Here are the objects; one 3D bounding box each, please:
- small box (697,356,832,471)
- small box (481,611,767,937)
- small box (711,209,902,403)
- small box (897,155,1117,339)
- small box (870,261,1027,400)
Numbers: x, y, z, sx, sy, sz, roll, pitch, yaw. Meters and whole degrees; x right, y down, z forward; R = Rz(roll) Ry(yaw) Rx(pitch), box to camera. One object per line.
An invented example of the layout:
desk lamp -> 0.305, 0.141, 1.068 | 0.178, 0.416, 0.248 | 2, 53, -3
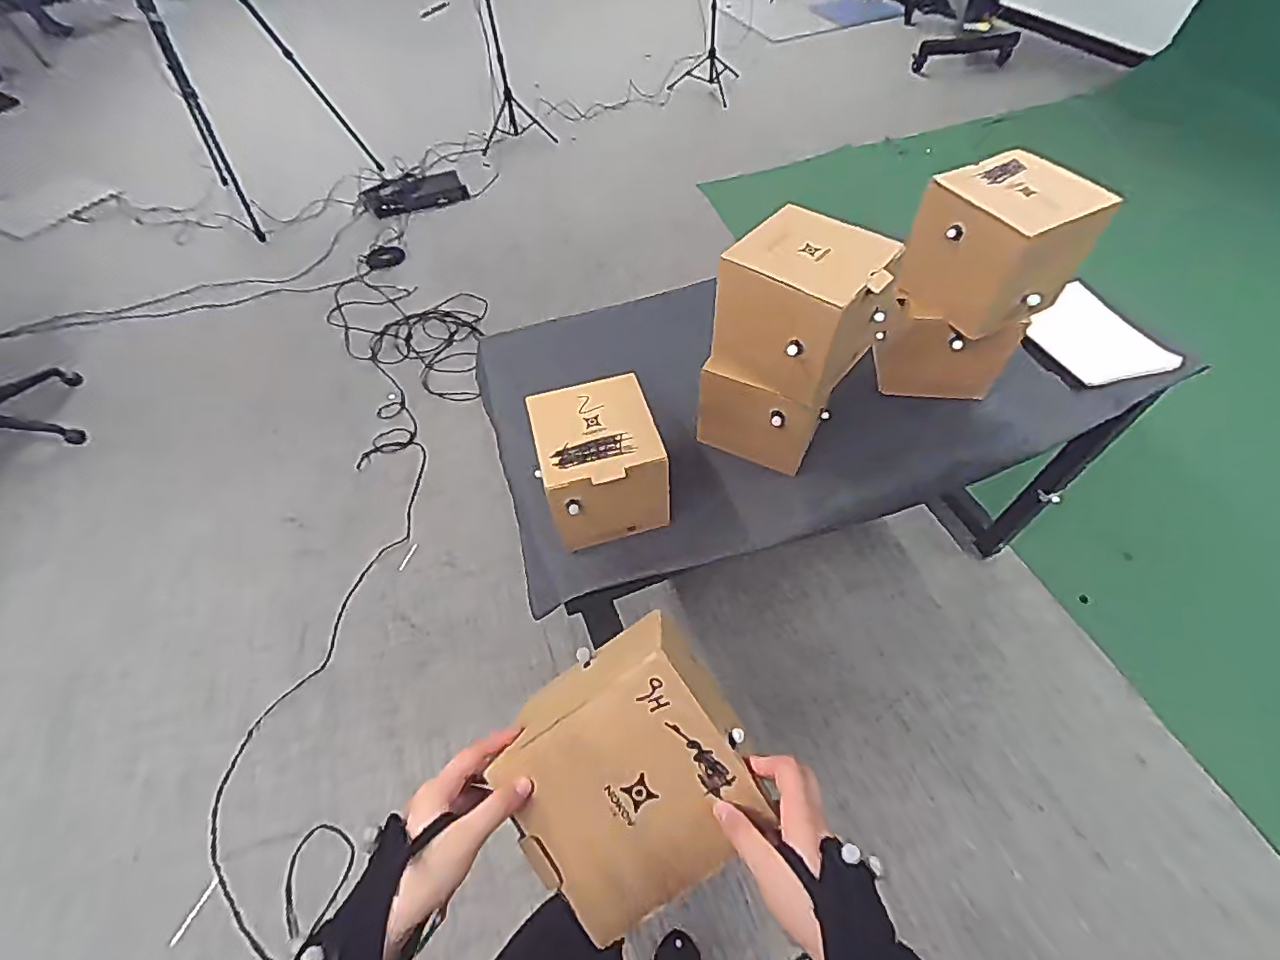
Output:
small box -> 0.205, -0.138, 0.874 | 0.179, 0.176, 0.168 | 23, 58, 18
small box -> -0.010, 0.248, 0.505 | 0.179, 0.176, 0.168 | -34, 87, 0
small box -> 0.215, -0.232, 0.741 | 0.179, 0.176, 0.168 | 34, 62, 25
small box -> 0.519, -0.341, 0.799 | 0.168, 0.176, 0.179 | -23, 56, -12
small box -> 0.520, -0.257, 0.941 | 0.179, 0.176, 0.168 | 5, 55, 8
